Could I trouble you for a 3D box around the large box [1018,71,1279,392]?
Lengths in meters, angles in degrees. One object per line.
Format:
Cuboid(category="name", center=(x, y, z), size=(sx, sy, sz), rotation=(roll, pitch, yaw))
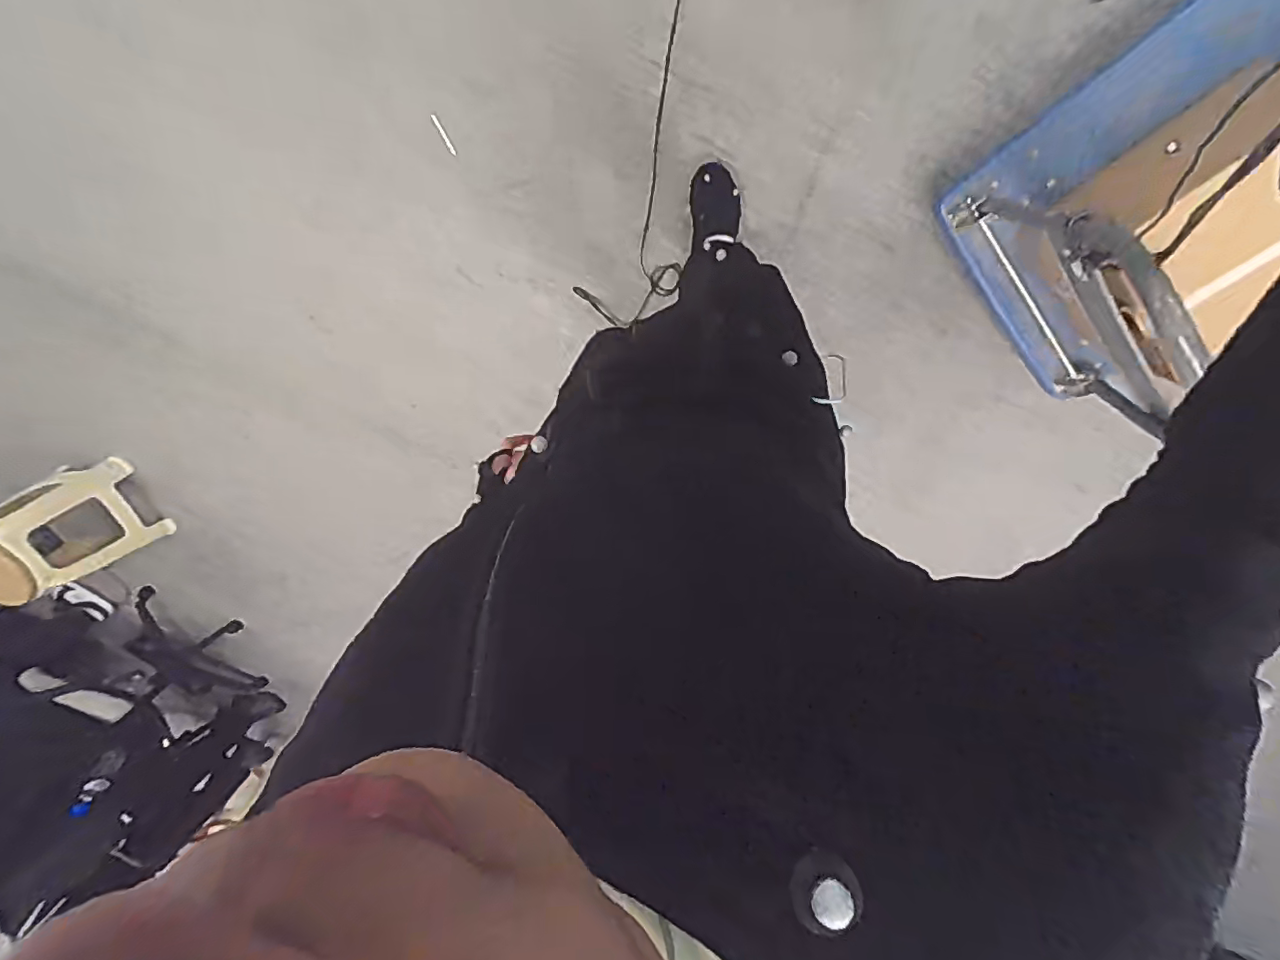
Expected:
Cuboid(category="large box", center=(1.004, -0.434, 0.954), size=(0.408, 0.320, 0.320), rotation=(-36, 108, 25))
